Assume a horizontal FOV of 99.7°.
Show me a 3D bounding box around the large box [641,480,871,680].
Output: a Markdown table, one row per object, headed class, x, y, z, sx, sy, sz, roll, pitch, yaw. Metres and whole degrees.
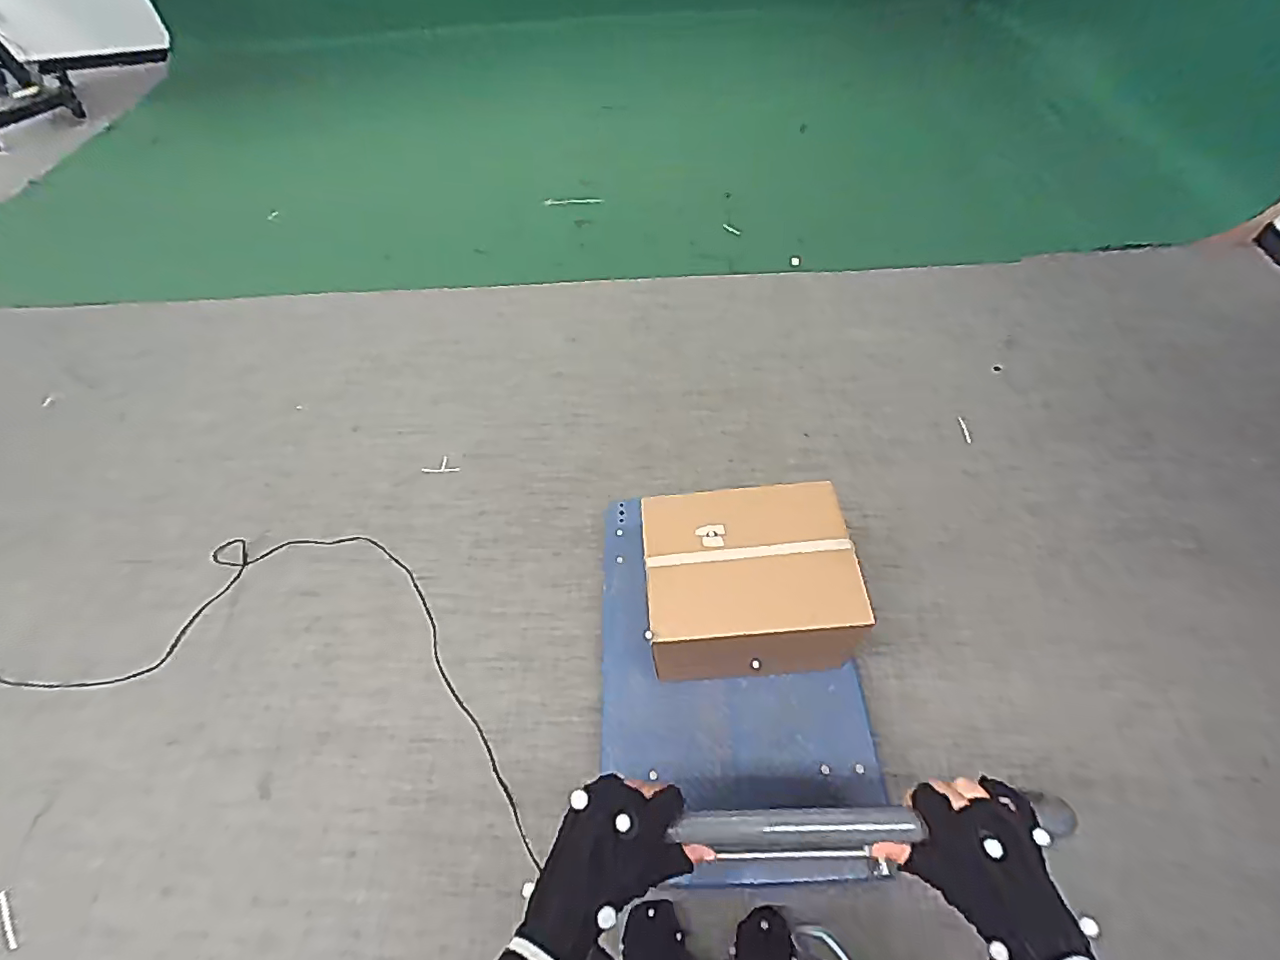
| class | x | y | z | sx | sy | sz | roll | pitch | yaw |
| --- | --- | --- | --- | --- | --- | --- | --- | --- | --- |
| large box | 0.227 | 0.231 | 1.191 | 0.408 | 0.320 | 0.320 | -7 | 55 | 2 |
